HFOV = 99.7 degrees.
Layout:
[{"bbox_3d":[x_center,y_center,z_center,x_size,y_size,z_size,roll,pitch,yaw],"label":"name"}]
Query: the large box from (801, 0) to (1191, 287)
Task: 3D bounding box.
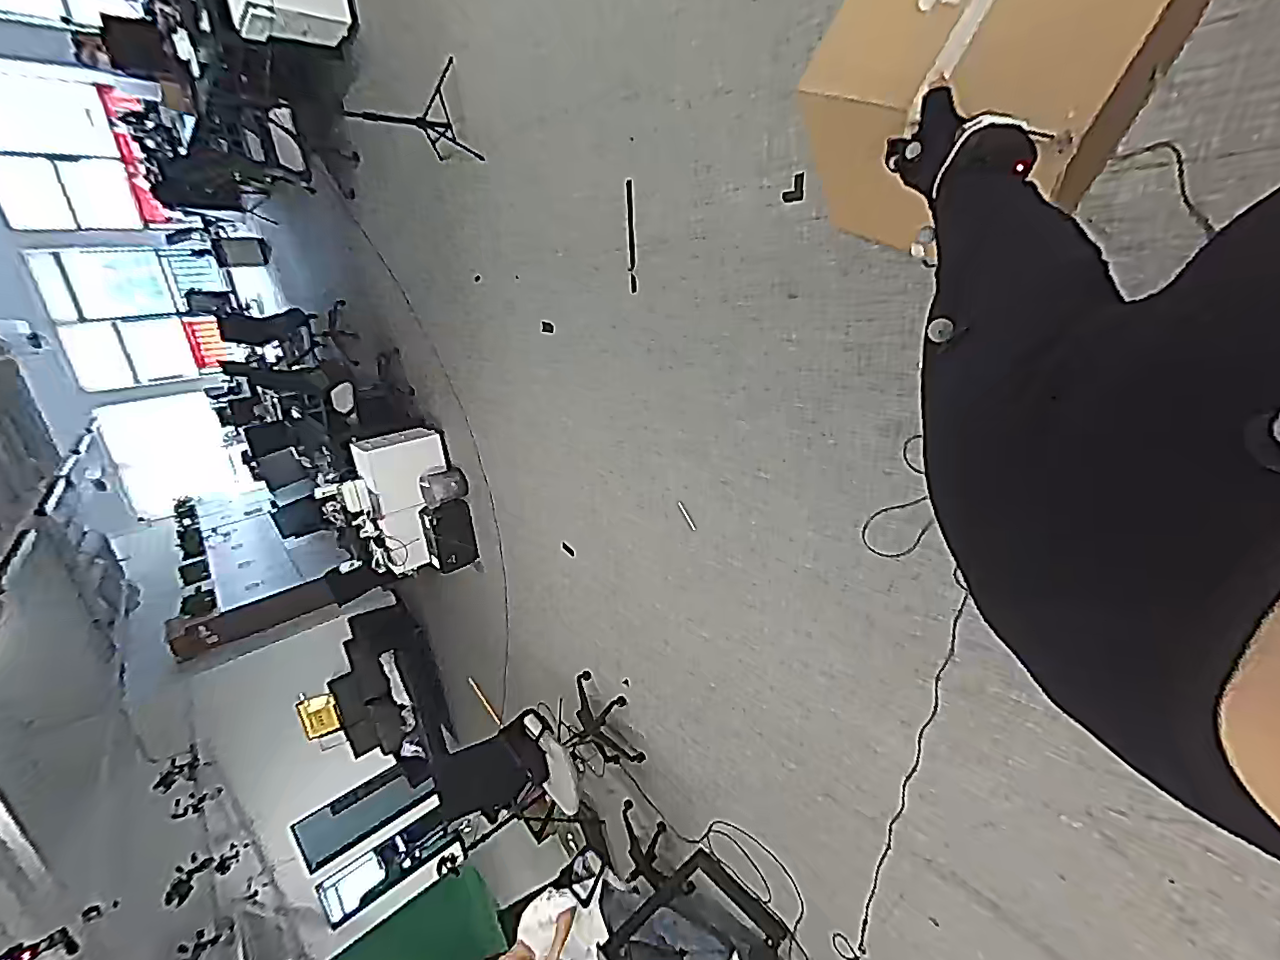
[{"bbox_3d":[0.475,-0.545,0.714,0.320,0.320,0.408,34,98,29],"label":"large box"}]
